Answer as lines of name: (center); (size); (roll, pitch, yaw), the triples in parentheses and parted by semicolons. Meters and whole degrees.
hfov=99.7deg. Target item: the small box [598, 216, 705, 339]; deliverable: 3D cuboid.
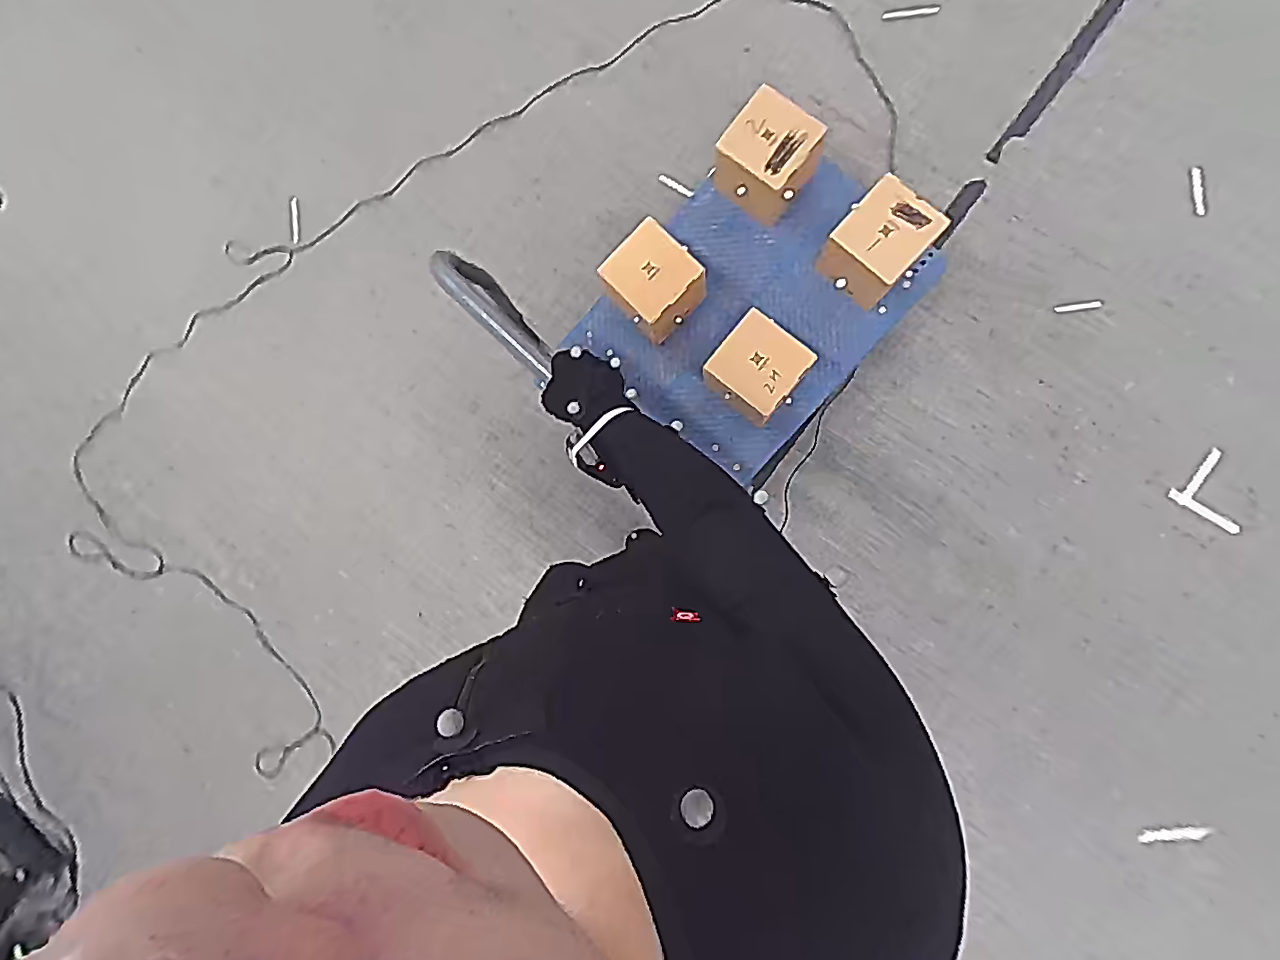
small box: (0.030, -0.455, 1.246); (0.168, 0.176, 0.179); (-45, 85, 3)

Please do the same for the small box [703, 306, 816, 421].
small box: (0.259, -0.249, 1.211); (0.179, 0.176, 0.168); (40, 93, 6)

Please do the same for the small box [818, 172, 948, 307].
small box: (0.518, -0.516, 1.186); (0.168, 0.176, 0.179); (43, 95, 6)
